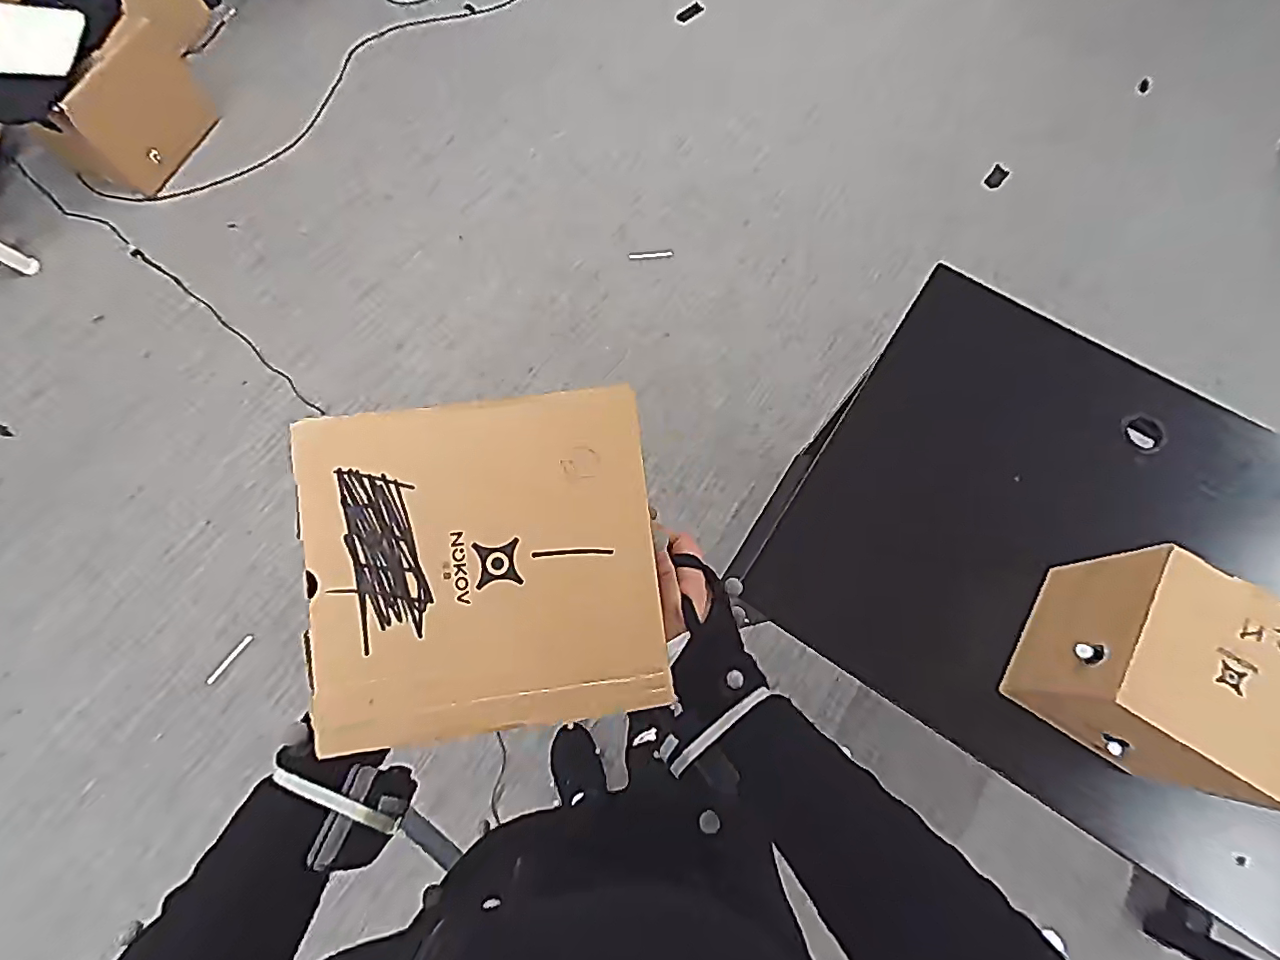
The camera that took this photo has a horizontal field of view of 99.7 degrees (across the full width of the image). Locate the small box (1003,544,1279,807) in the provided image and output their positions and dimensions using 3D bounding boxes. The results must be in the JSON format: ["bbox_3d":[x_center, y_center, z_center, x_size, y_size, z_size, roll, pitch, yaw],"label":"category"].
[{"bbox_3d":[0.534,0.198,0.576,0.168,0.176,0.179,32,74,10],"label":"small box"}]

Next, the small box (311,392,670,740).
[{"bbox_3d":[-0.081,0.048,0.360,0.179,0.176,0.168,-7,86,-4],"label":"small box"}]
